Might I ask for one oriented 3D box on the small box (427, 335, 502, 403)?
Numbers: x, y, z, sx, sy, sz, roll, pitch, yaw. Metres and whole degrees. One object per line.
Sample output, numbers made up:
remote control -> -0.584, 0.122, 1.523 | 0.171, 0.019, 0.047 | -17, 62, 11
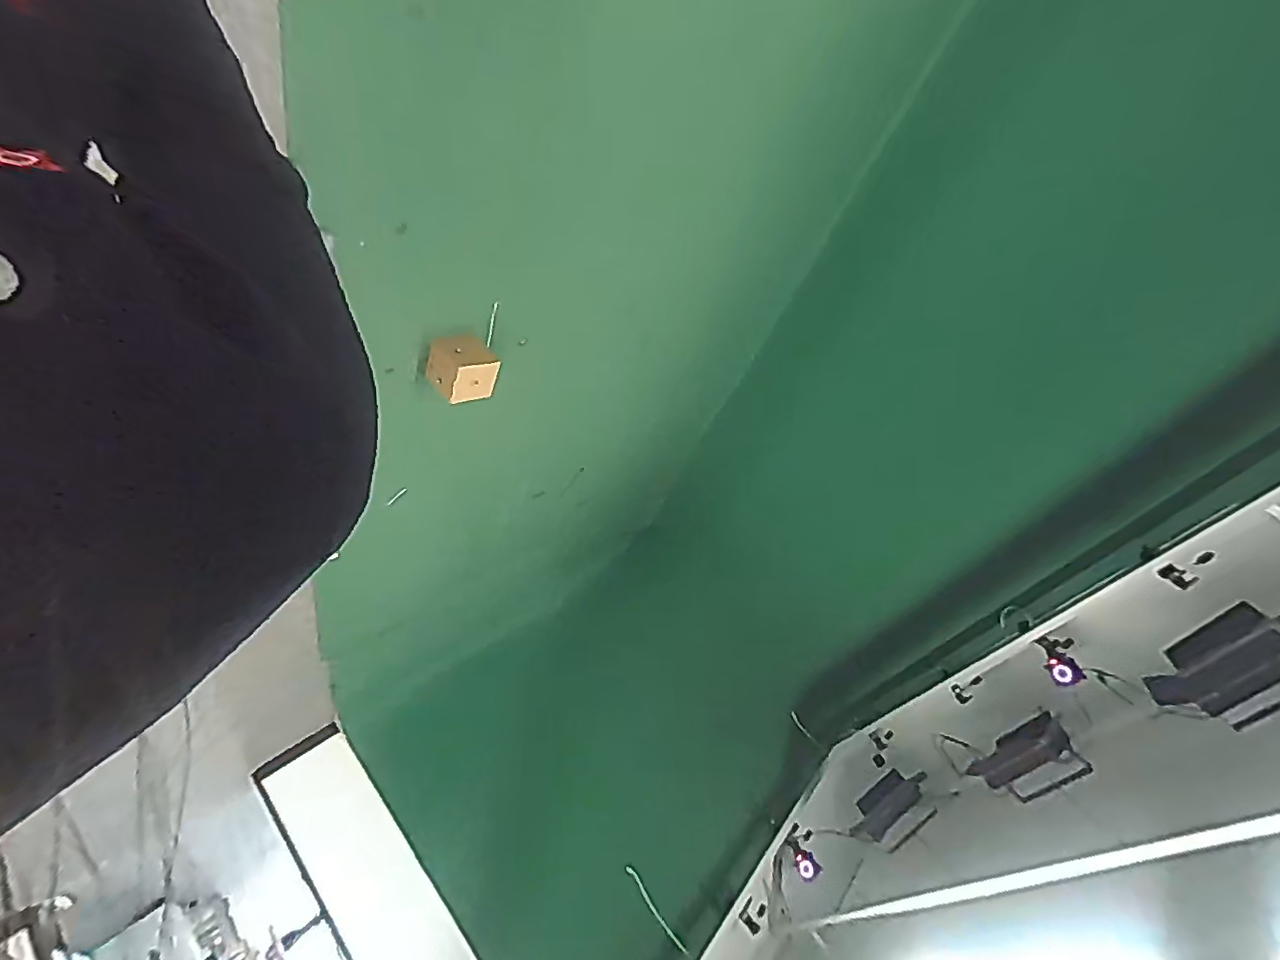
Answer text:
small box -> -0.632, -0.401, 1.934 | 0.179, 0.176, 0.168 | -23, 154, -49
